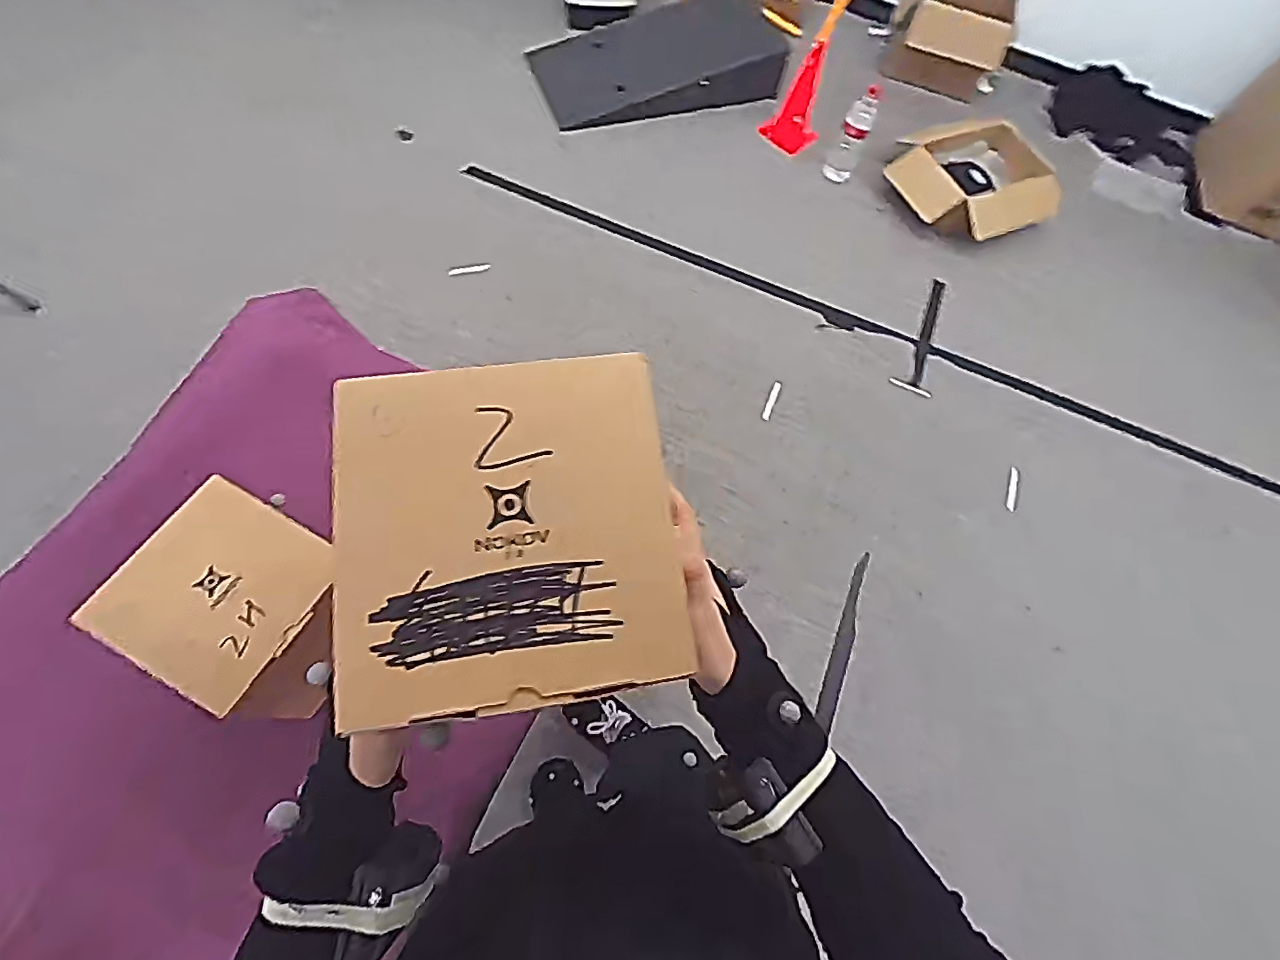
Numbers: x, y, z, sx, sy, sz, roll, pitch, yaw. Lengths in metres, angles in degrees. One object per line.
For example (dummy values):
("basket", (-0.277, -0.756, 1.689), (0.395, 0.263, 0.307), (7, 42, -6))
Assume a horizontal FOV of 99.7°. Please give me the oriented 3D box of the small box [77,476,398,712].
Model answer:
("small box", (-0.399, 0.129, 0.575), (0.179, 0.176, 0.168), (29, 67, 6))
